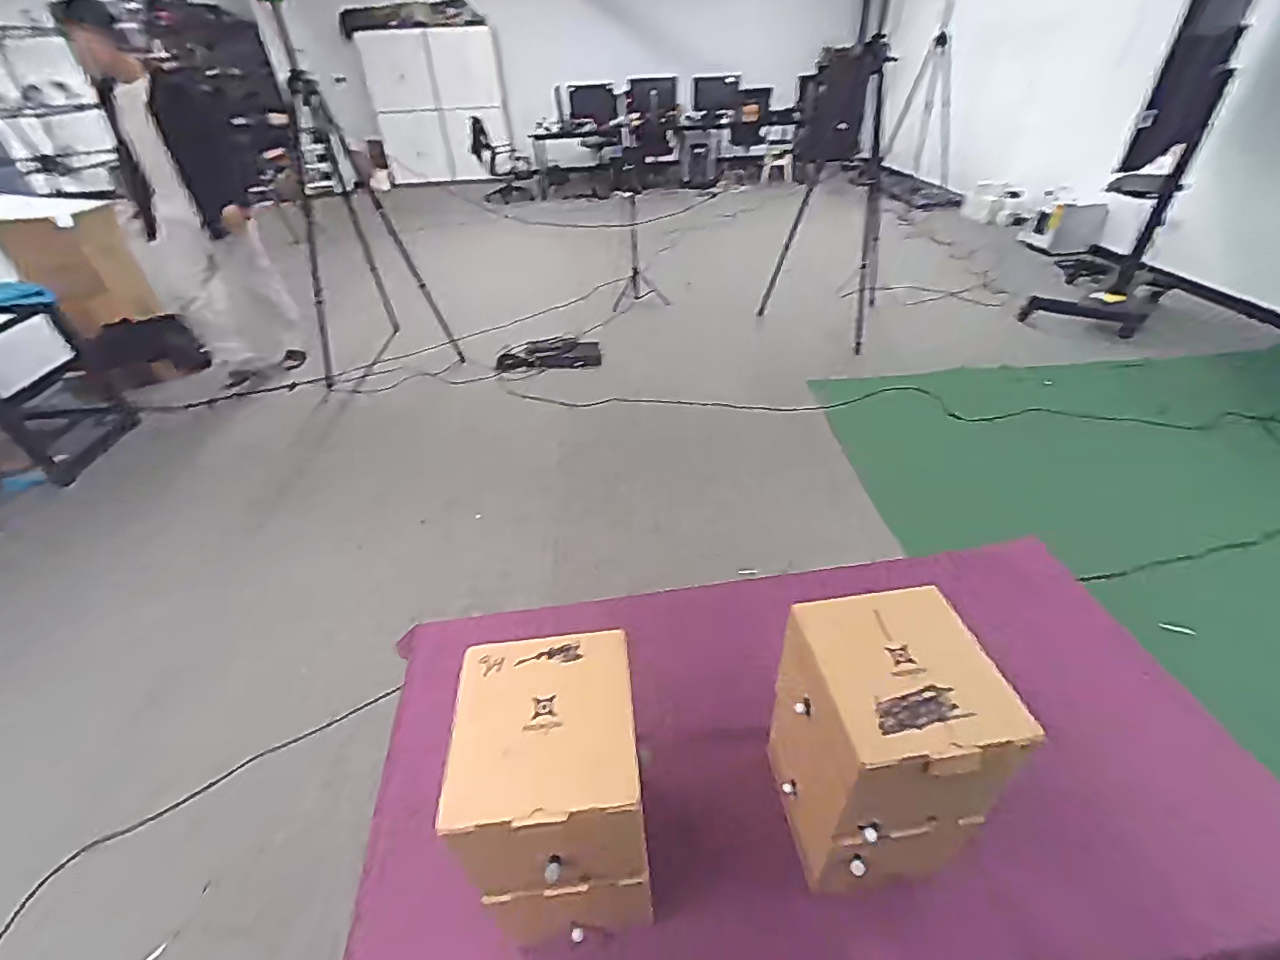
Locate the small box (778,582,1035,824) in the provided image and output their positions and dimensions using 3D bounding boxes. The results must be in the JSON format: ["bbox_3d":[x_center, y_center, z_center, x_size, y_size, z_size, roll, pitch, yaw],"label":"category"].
[{"bbox_3d":[0.257,0.238,0.575,0.168,0.176,0.179,-7,37,-5],"label":"small box"}]

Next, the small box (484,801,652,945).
[{"bbox_3d":[-0.078,0.413,0.645,0.168,0.176,0.179,-7,38,-3],"label":"small box"}]

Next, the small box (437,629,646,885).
[{"bbox_3d":[-0.086,0.281,0.546,0.168,0.176,0.179,-6,38,-4],"label":"small box"}]
